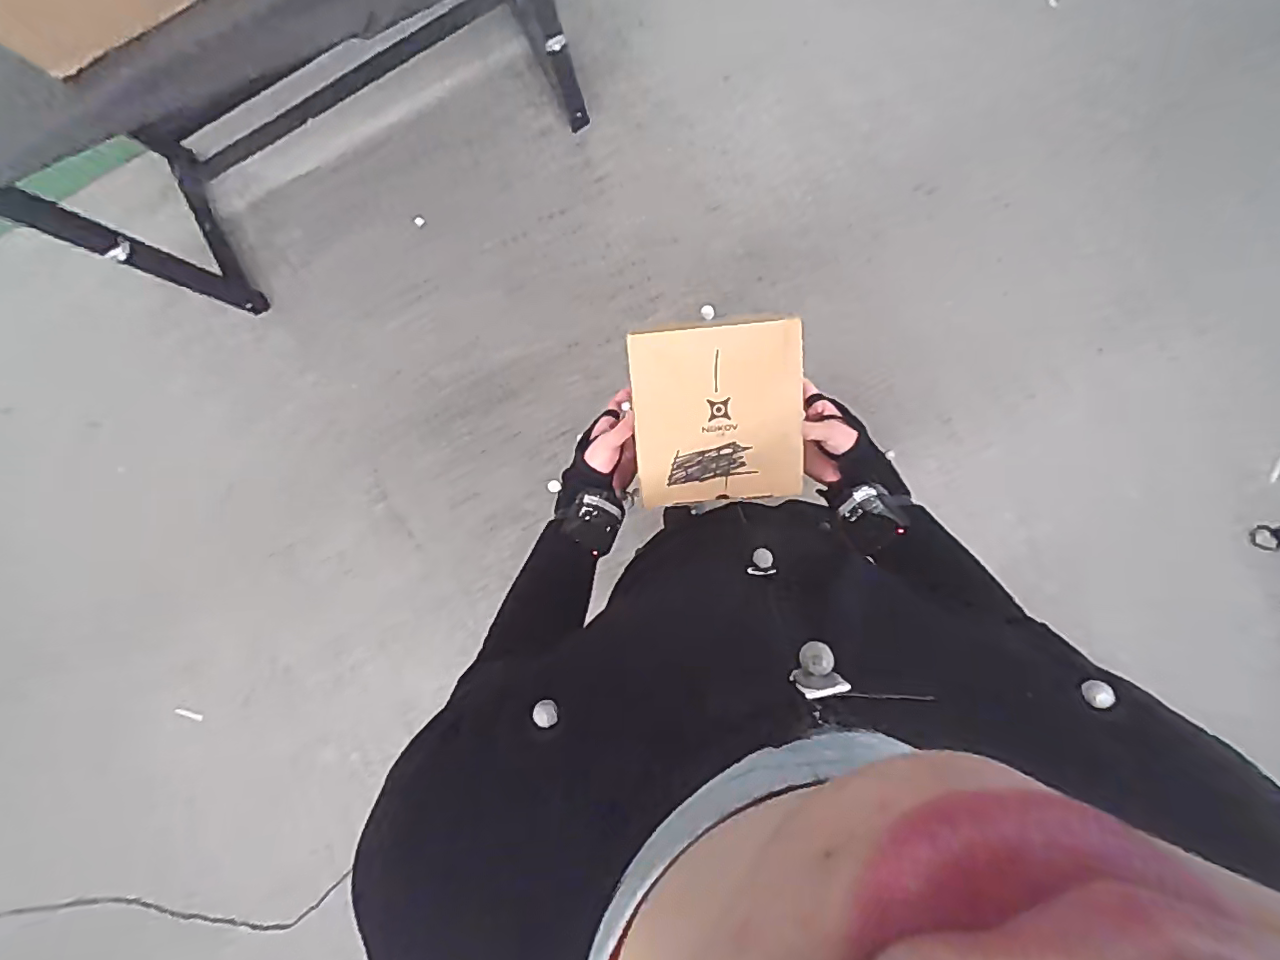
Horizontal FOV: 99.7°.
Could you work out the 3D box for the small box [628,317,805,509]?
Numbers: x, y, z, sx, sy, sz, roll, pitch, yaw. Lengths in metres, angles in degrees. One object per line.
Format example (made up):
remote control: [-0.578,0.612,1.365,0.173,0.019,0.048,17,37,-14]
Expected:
small box: [0.080,-0.083,0.601,0.168,0.176,0.179,-6,106,2]
